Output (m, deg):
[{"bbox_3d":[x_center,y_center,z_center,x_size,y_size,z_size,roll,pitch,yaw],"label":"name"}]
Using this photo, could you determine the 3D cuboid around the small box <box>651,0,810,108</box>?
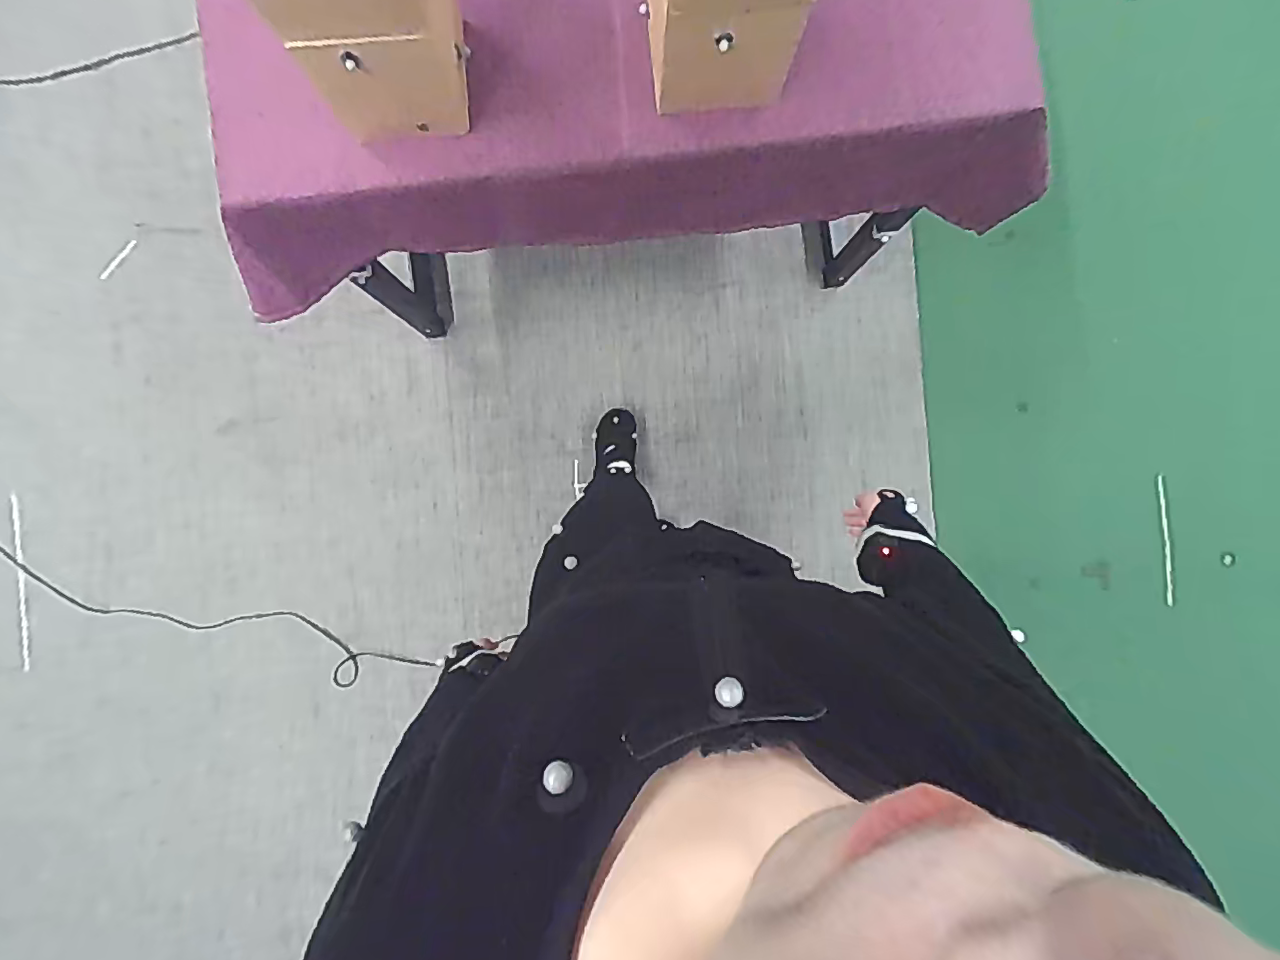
[{"bbox_3d":[0.106,-0.622,0.704,0.179,0.176,0.168,-6,89,-2],"label":"small box"}]

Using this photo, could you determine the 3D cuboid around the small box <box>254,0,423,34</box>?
[{"bbox_3d":[-0.325,-0.587,0.532,0.179,0.176,0.168,-3,89,-1],"label":"small box"}]

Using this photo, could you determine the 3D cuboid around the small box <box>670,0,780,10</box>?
[{"bbox_3d":[0.113,-0.626,0.541,0.179,0.176,0.168,-6,90,0],"label":"small box"}]

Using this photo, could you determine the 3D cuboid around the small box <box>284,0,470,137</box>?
[{"bbox_3d":[-0.328,-0.583,0.695,0.168,0.176,0.179,-5,88,-1],"label":"small box"}]
